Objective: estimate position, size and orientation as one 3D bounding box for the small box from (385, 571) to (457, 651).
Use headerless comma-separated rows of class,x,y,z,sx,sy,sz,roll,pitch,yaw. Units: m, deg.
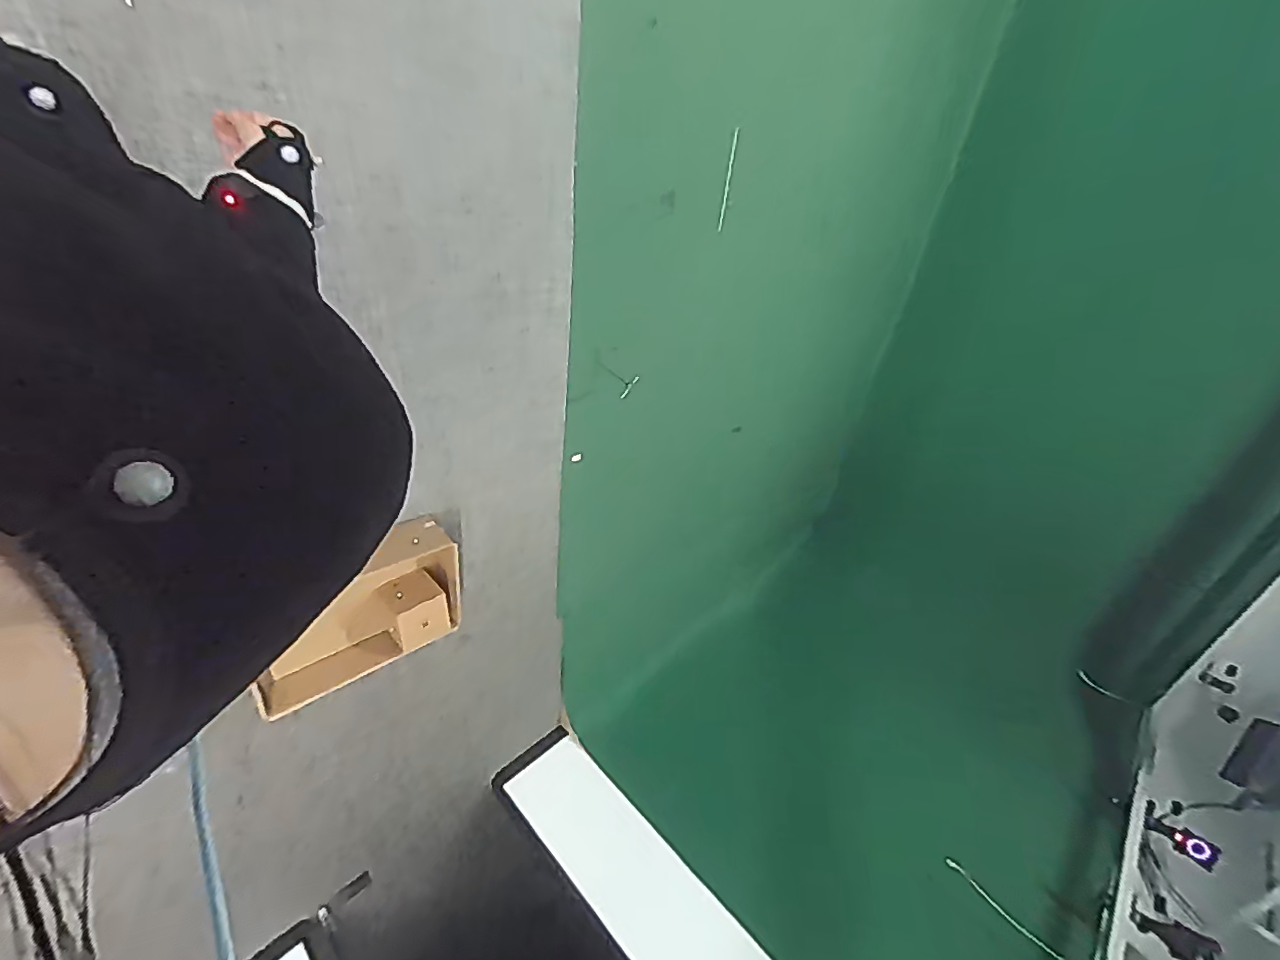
small box,-0.740,0.432,1.825,0.168,0.176,0.179,-24,132,-38
